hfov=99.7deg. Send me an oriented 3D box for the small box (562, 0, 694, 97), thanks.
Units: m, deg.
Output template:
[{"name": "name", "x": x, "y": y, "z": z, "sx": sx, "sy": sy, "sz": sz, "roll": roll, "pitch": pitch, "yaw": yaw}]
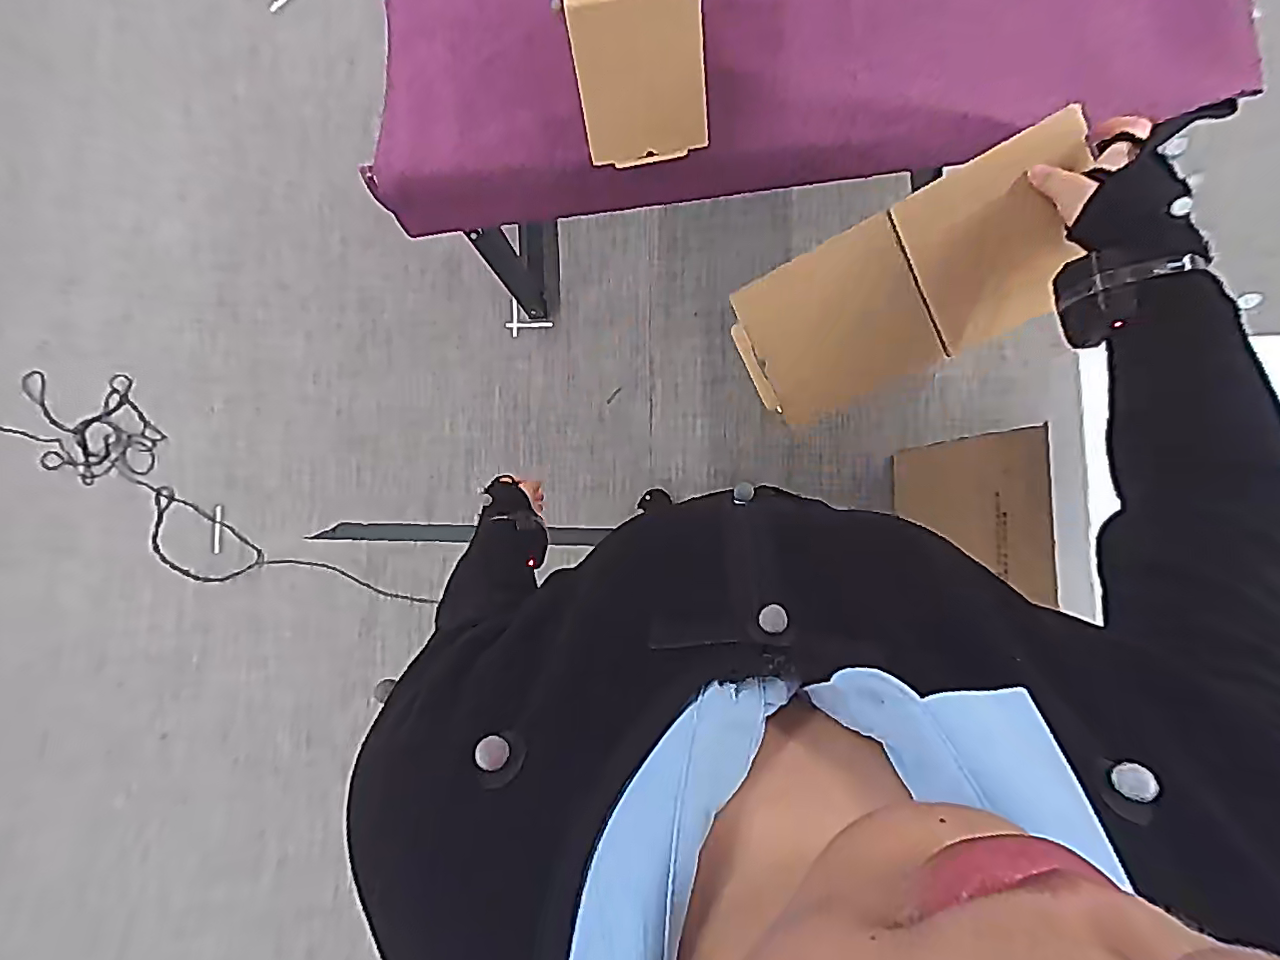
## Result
[{"name": "small box", "x": -0.018, "y": -0.657, "z": 0.729, "sx": 0.168, "sy": 0.176, "sz": 0.179, "roll": -8, "pitch": 86, "yaw": 2}]
